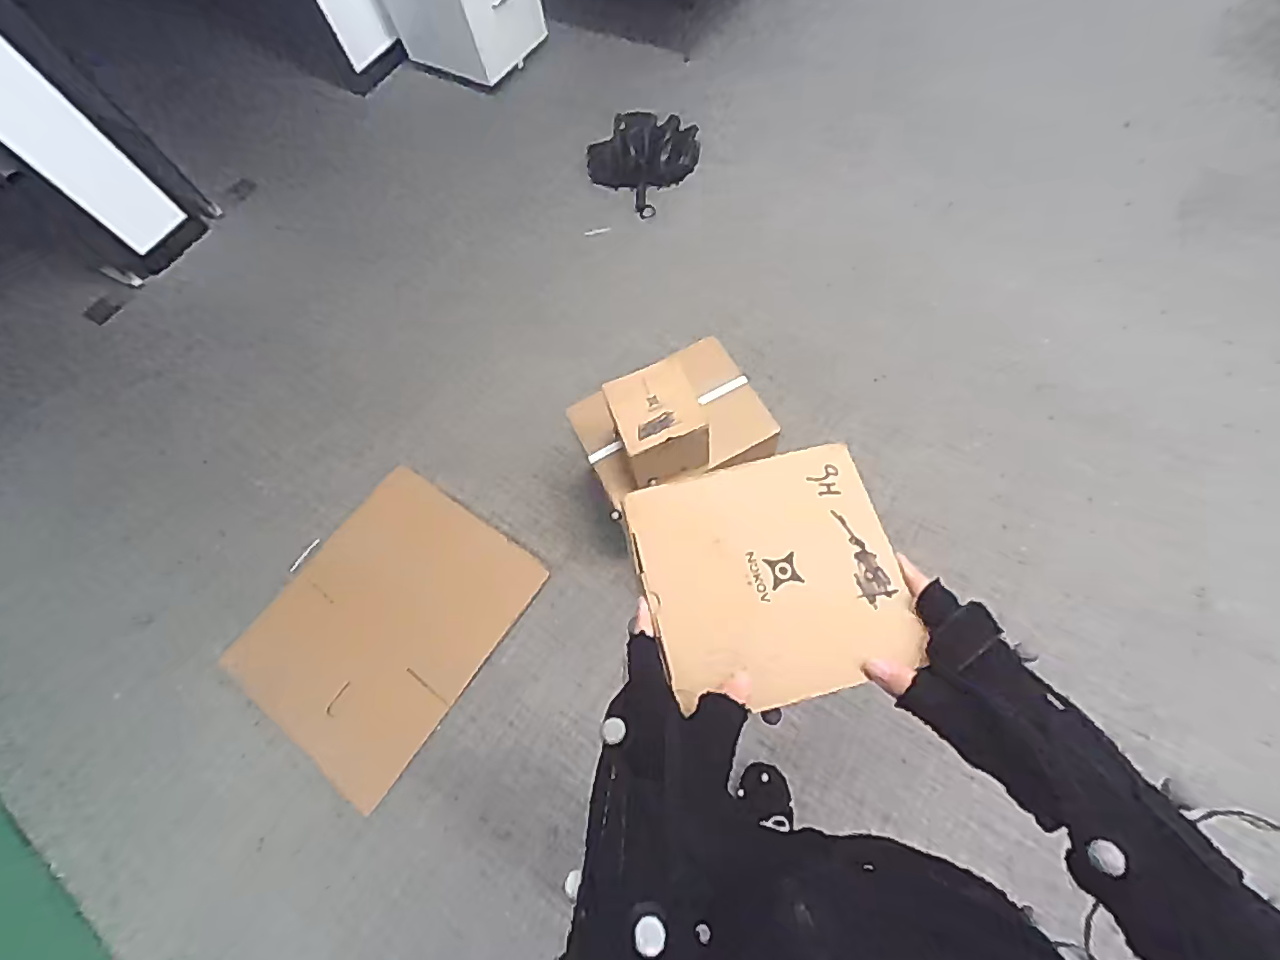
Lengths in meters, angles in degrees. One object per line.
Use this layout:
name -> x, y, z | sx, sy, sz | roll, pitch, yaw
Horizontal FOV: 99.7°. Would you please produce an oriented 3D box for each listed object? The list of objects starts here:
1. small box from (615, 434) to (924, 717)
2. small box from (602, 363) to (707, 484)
small box -> 0.089, 0.090, 0.456 | 0.179, 0.176, 0.168 | -16, 65, -6
small box -> 0.037, -0.105, 1.132 | 0.168, 0.176, 0.179 | -21, 65, -2
